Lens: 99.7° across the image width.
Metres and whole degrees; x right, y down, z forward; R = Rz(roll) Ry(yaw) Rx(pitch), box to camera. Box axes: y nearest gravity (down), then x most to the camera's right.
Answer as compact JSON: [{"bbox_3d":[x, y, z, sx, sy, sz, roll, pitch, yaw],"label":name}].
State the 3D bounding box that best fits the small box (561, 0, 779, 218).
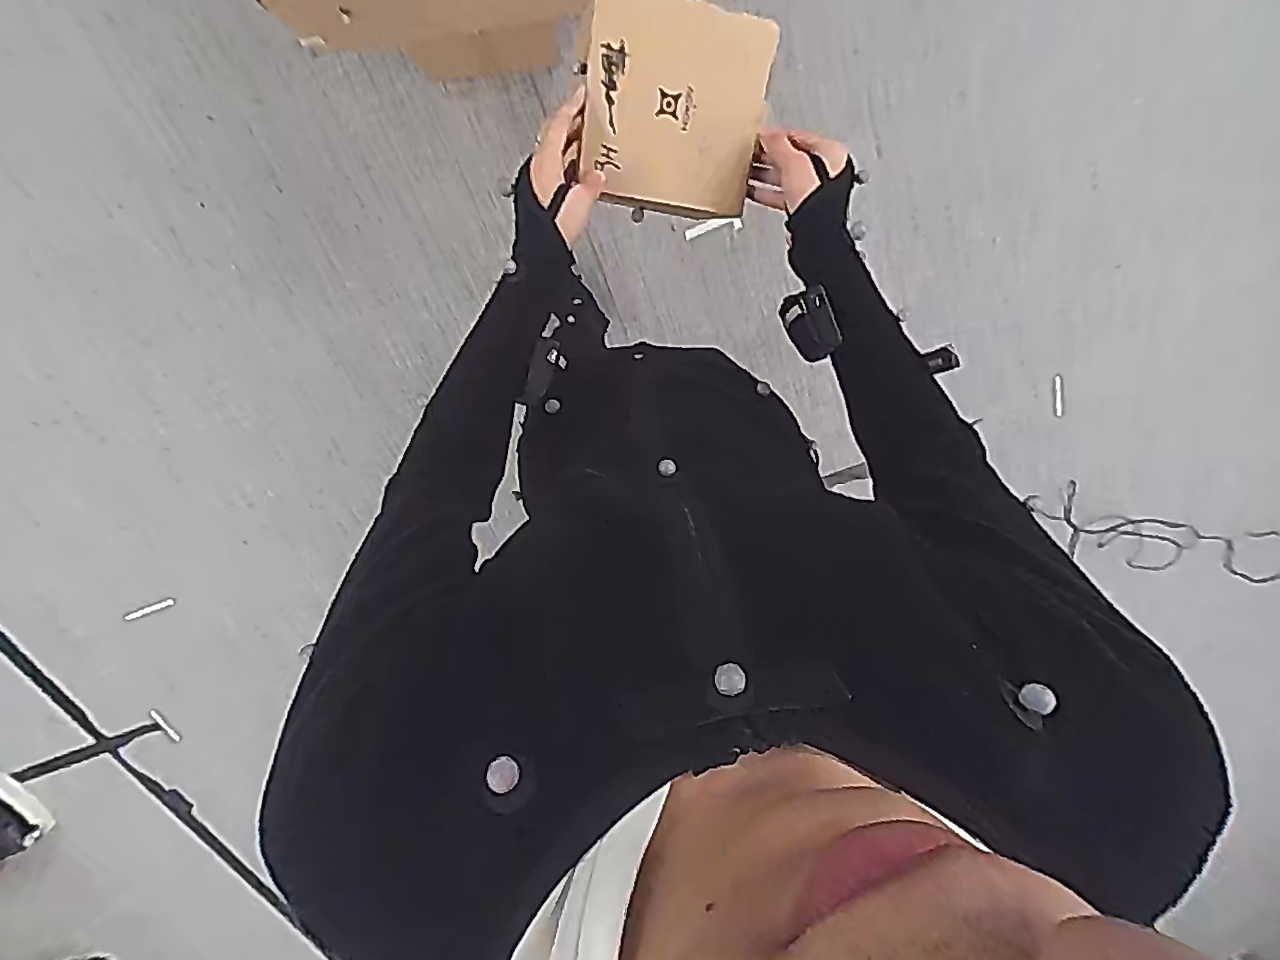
[{"bbox_3d":[0.017,-0.388,0.581,0.179,0.176,0.168,4,114,-15],"label":"small box"}]
